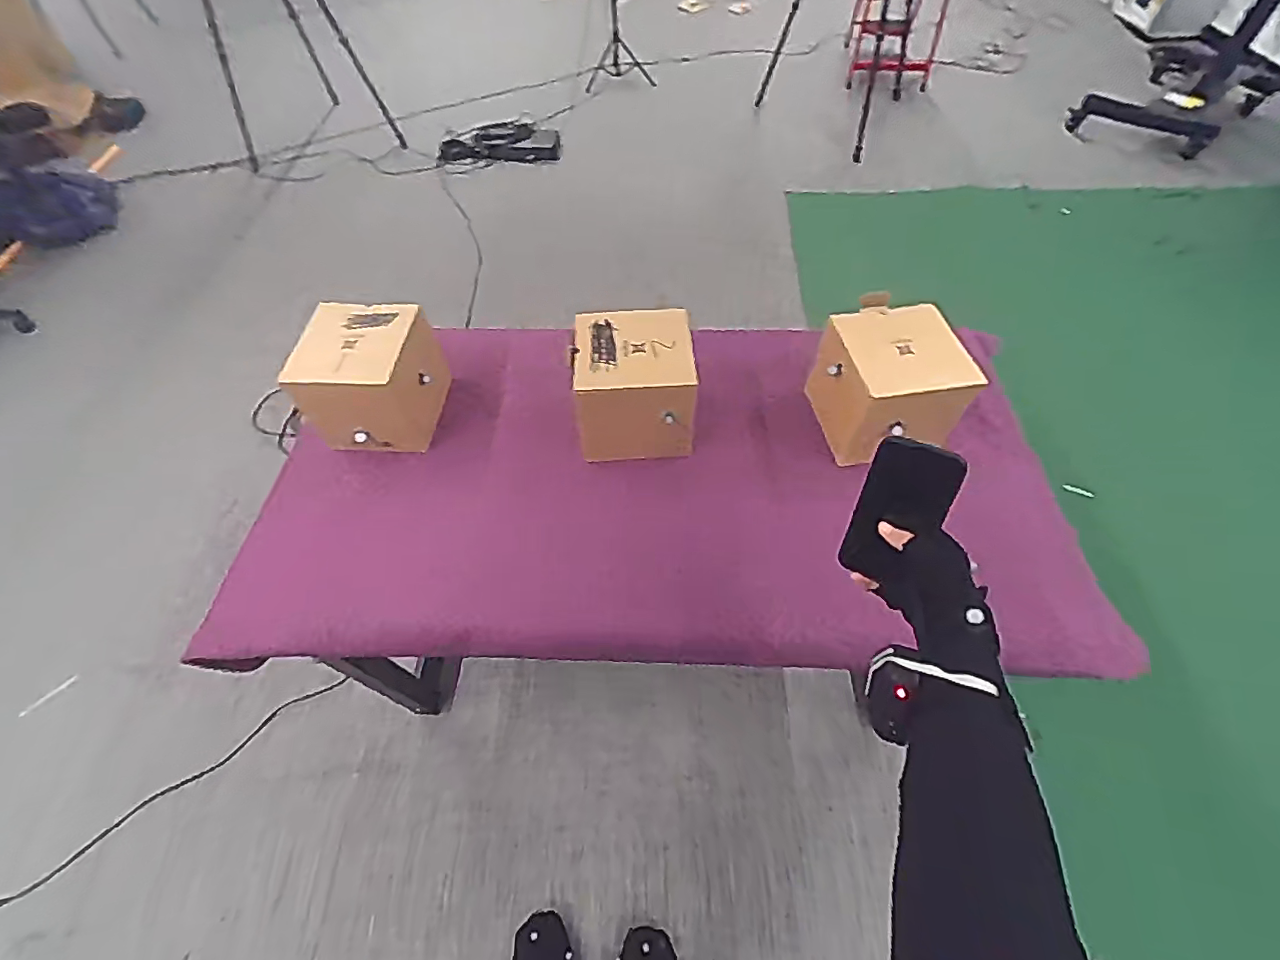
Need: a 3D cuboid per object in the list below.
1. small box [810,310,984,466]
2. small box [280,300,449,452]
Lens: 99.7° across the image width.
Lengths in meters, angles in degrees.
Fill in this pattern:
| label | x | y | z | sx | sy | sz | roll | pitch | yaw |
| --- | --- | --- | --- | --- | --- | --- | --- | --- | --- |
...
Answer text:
| label | x | y | z | sx | sy | sz | roll | pitch | yaw |
| --- | --- | --- | --- | --- | --- | --- | --- | --- | --- |
| small box | 0.384 | -0.136 | 0.846 | 0.168 | 0.176 | 0.179 | -7 | 55 | -3 |
| small box | -0.429 | -0.167 | 0.880 | 0.168 | 0.176 | 0.179 | 3 | 57 | 3 |
